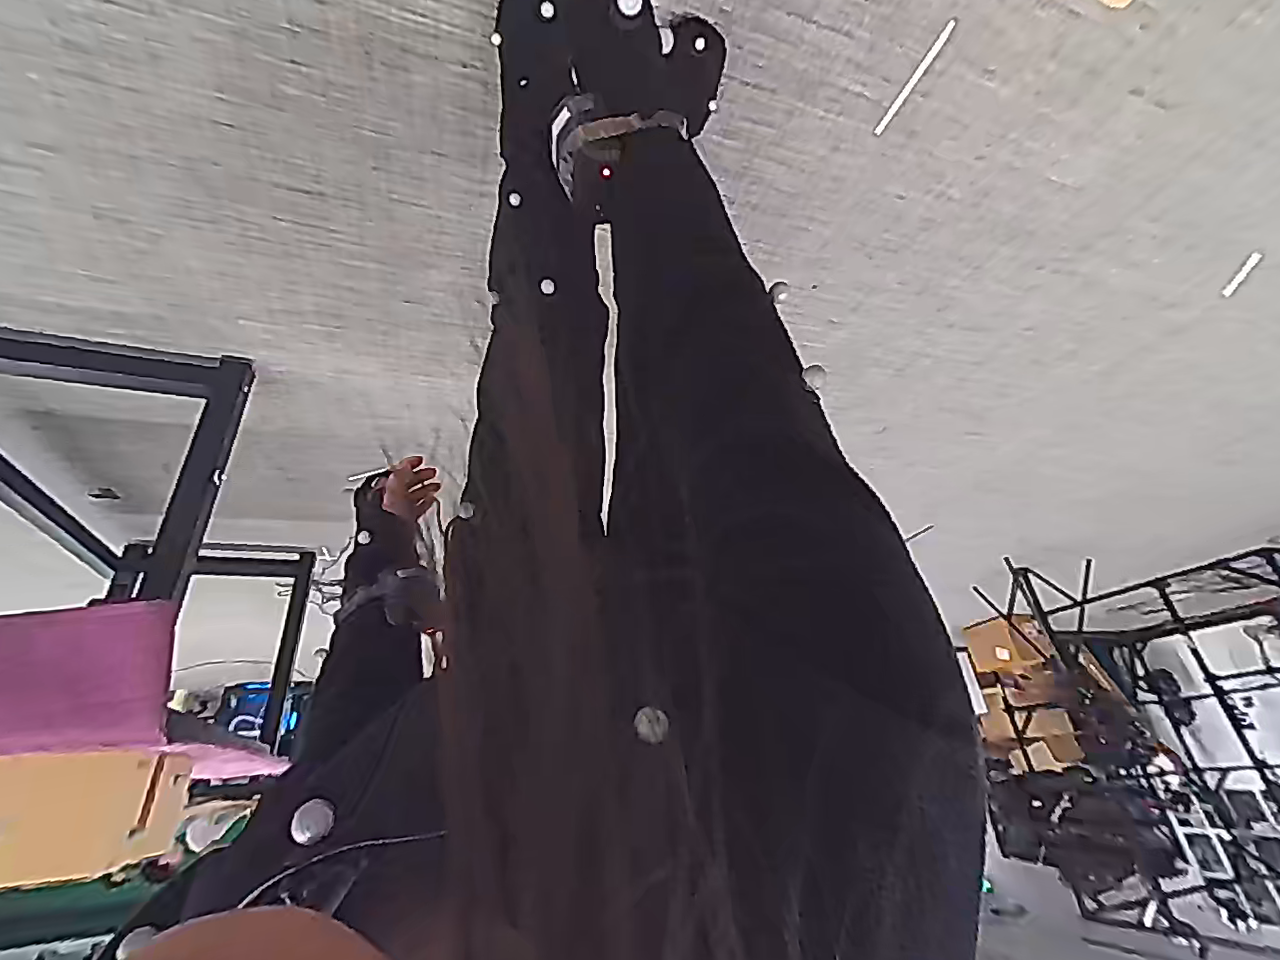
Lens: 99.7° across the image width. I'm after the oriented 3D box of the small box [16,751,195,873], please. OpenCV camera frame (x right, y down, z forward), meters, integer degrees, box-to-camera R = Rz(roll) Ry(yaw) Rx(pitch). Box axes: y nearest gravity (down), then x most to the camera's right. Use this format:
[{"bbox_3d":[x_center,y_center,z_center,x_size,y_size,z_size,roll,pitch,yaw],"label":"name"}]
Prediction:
[{"bbox_3d":[-0.968,0.603,1.001,0.168,0.176,0.179,5,150,-21],"label":"small box"}]
